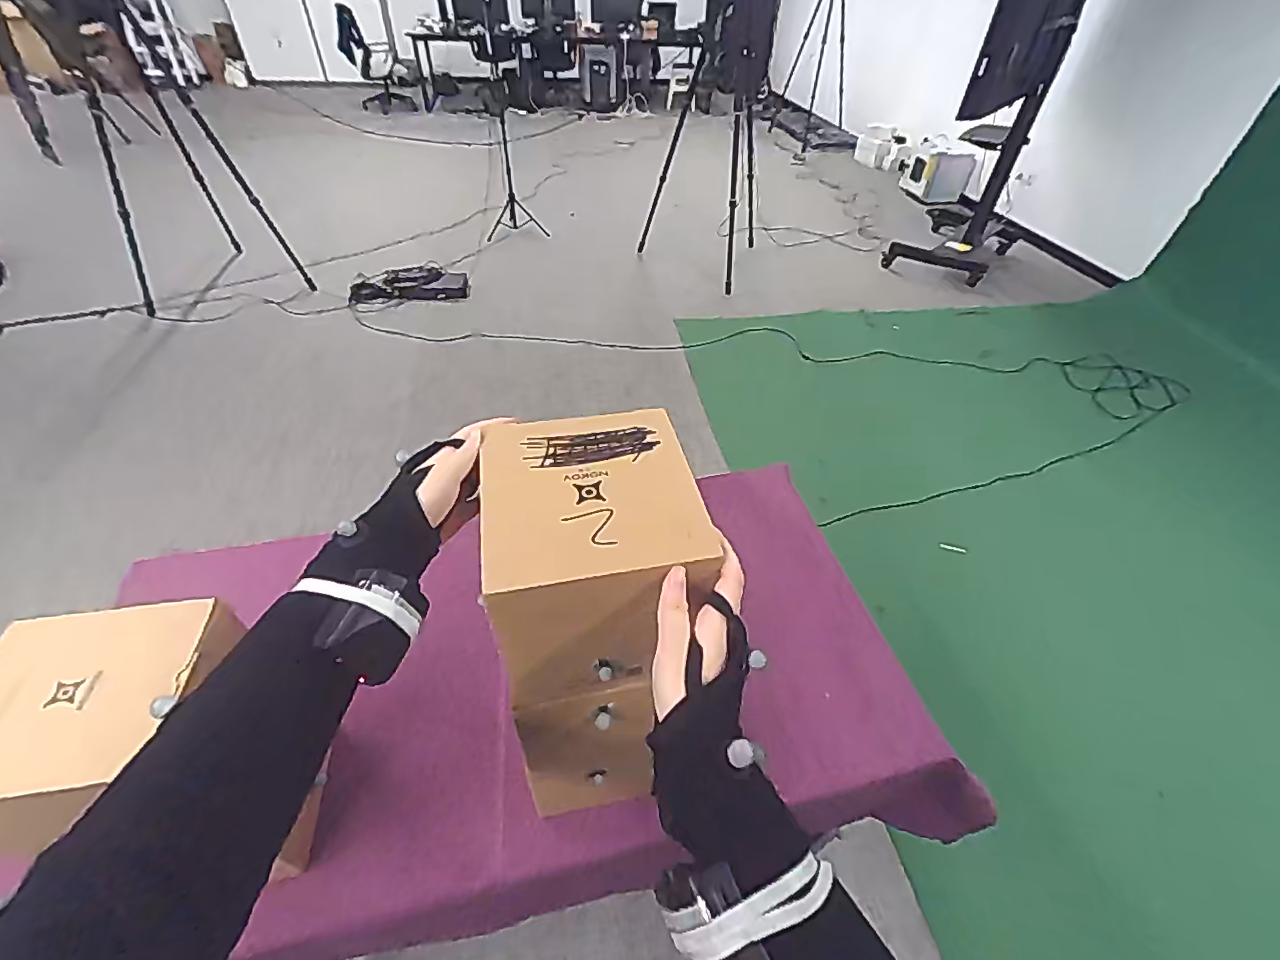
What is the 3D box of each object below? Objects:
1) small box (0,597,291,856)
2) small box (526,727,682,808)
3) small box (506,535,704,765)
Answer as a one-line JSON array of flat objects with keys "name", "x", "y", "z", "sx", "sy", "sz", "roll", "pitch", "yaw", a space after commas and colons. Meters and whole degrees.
[{"name": "small box", "x": -0.475, "y": 0.235, "z": 0.518, "sx": 0.179, "sy": 0.176, "sz": 0.168, "roll": -6, "pitch": 45, "yaw": -8}, {"name": "small box", "x": -0.053, "y": 0.301, "z": 0.702, "sx": 0.179, "sy": 0.176, "sz": 0.168, "roll": -7, "pitch": 46, "yaw": -10}, {"name": "small box", "x": -0.044, "y": 0.185, "z": 0.588, "sx": 0.179, "sy": 0.176, "sz": 0.168, "roll": -8, "pitch": 46, "yaw": -9}]
